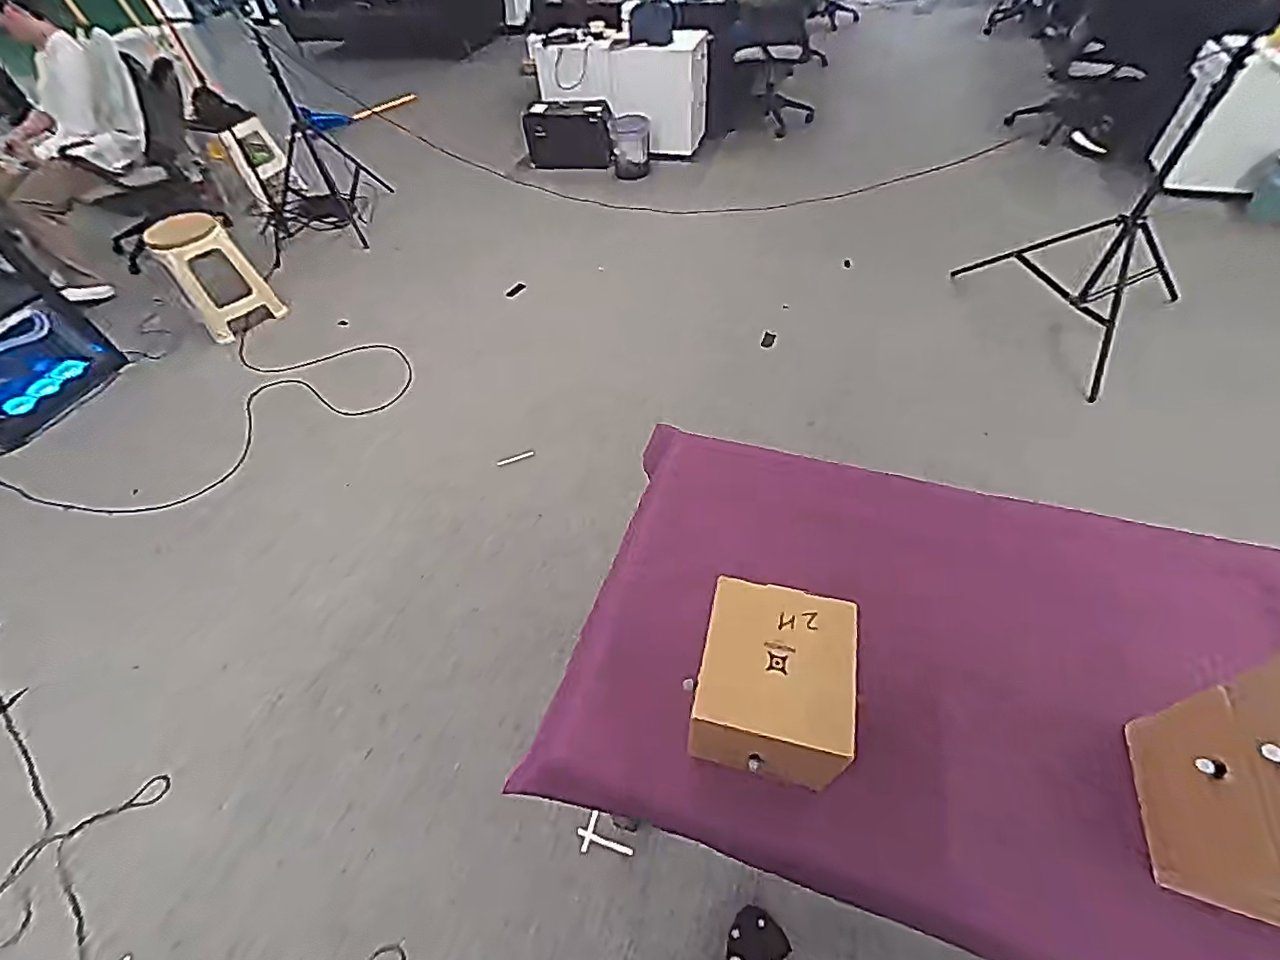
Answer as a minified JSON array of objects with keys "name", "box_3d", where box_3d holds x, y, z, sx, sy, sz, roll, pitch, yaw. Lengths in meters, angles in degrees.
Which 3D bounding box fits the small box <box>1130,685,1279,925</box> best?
[{"name":"small box","box_3d":[0.658,0.344,0.552,0.168,0.176,0.179,13,53,15]}]

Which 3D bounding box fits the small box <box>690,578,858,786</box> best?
[{"name":"small box","box_3d":[0.159,0.250,0.662,0.168,0.176,0.179,10,52,11]}]
